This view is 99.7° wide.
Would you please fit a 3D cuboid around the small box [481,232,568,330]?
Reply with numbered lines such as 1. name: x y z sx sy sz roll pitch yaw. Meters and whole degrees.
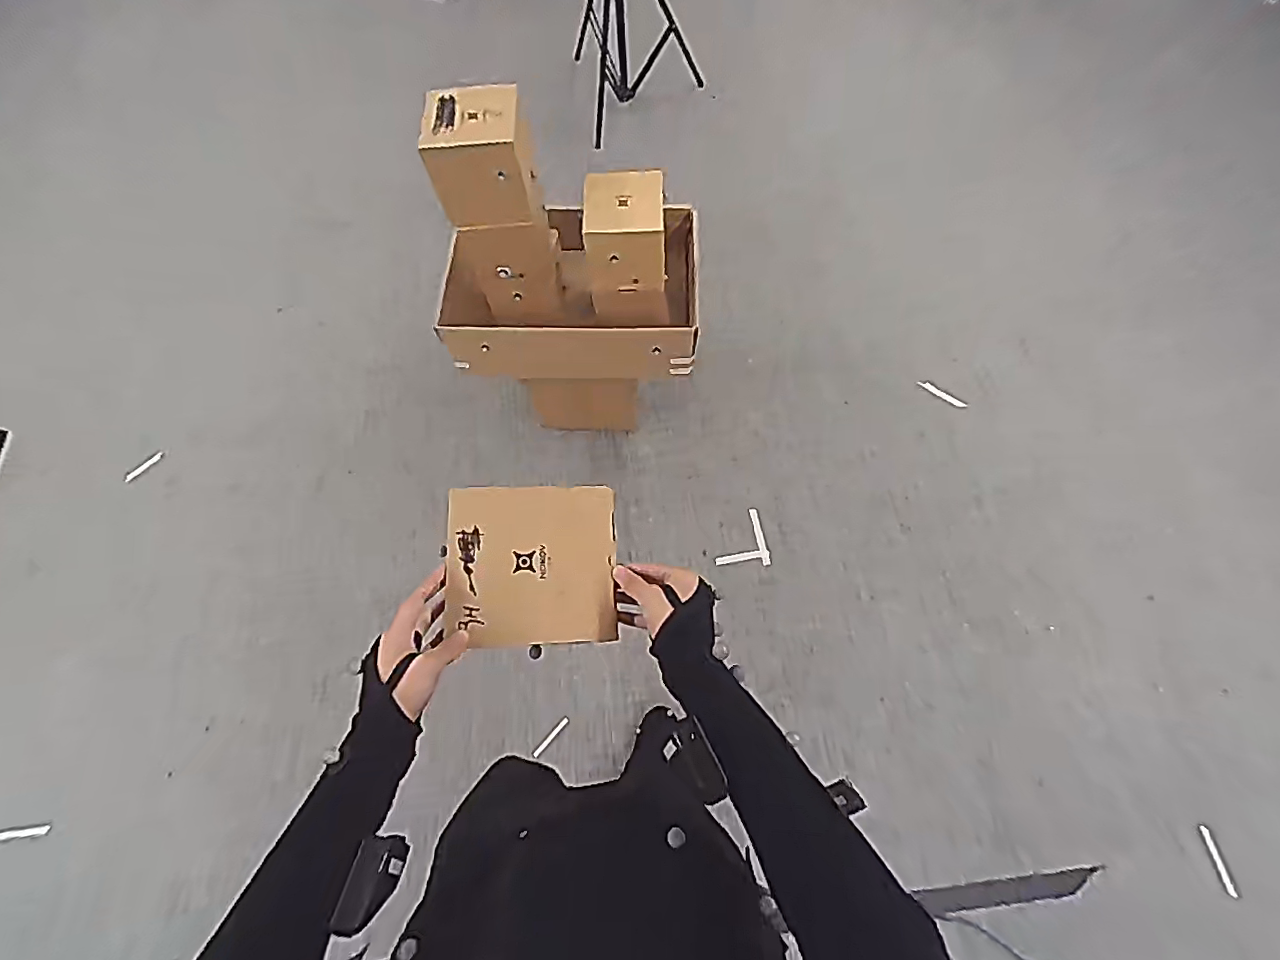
1. small box: -0.282 -0.493 1.355 0.179 0.176 0.168 -2 67 0

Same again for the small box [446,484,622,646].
1. small box: -0.120 0.106 0.638 0.179 0.176 0.168 1 74 -10

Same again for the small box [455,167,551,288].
1. small box: -0.297 -0.558 1.204 0.168 0.176 0.179 -5 67 2

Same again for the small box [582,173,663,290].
1. small box: -0.032 -0.537 1.188 0.168 0.176 0.179 -1 66 1

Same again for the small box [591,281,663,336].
1. small box: -0.027 -0.472 1.337 0.168 0.176 0.179 -1 67 2
